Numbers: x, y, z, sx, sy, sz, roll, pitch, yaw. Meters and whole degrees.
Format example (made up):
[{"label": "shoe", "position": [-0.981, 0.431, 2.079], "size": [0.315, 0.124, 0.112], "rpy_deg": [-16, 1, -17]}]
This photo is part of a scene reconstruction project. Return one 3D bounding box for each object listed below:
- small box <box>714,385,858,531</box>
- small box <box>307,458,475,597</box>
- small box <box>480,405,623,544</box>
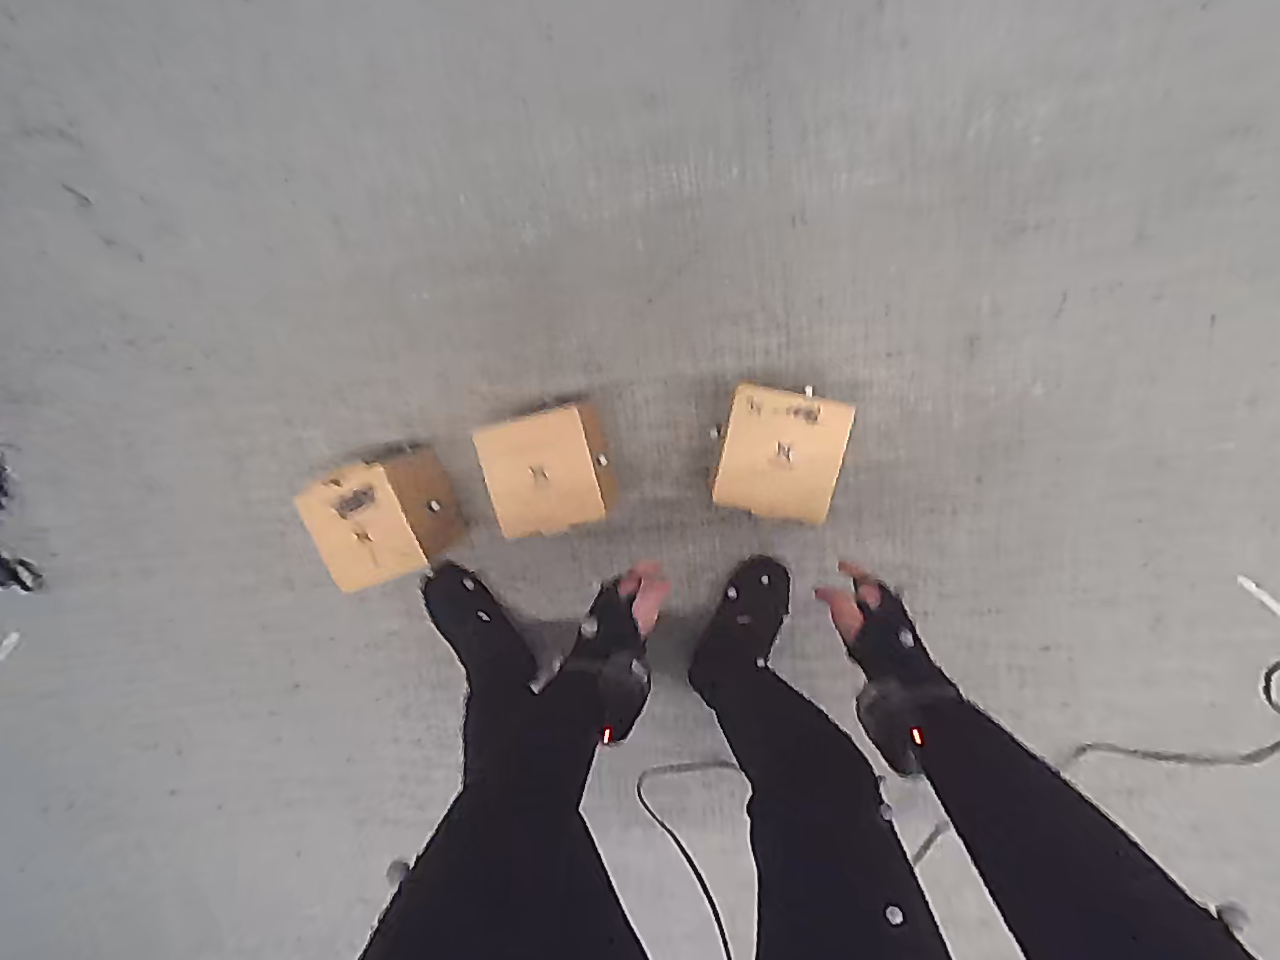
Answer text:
[{"label": "small box", "position": [0.214, -0.043, 0.839], "size": [0.168, 0.176, 0.179], "rpy_deg": [12, 104, 4]}, {"label": "small box", "position": [-0.414, 0.069, 0.929], "size": [0.168, 0.176, 0.179], "rpy_deg": [-19, 100, 10]}, {"label": "small box", "position": [-0.132, -0.016, 0.884], "size": [0.168, 0.176, 0.179], "rpy_deg": [-13, 99, 7]}]
